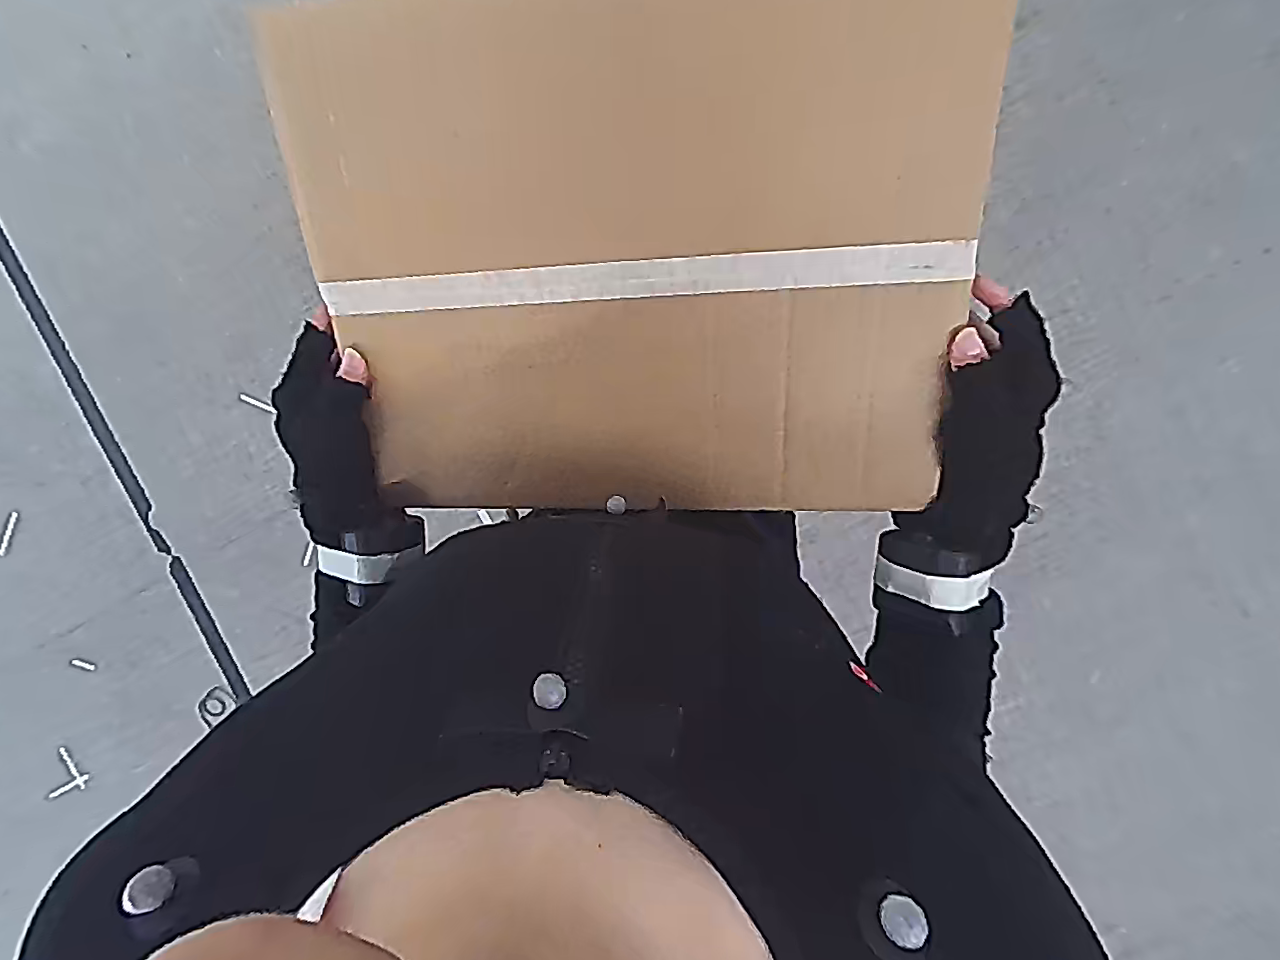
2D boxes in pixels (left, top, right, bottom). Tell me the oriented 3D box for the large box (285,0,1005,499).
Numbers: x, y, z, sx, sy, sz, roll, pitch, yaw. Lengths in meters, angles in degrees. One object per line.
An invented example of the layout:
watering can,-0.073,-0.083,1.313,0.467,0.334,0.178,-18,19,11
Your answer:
large box,0.012,-0.185,0.480,0.408,0.320,0.320,0,114,8
